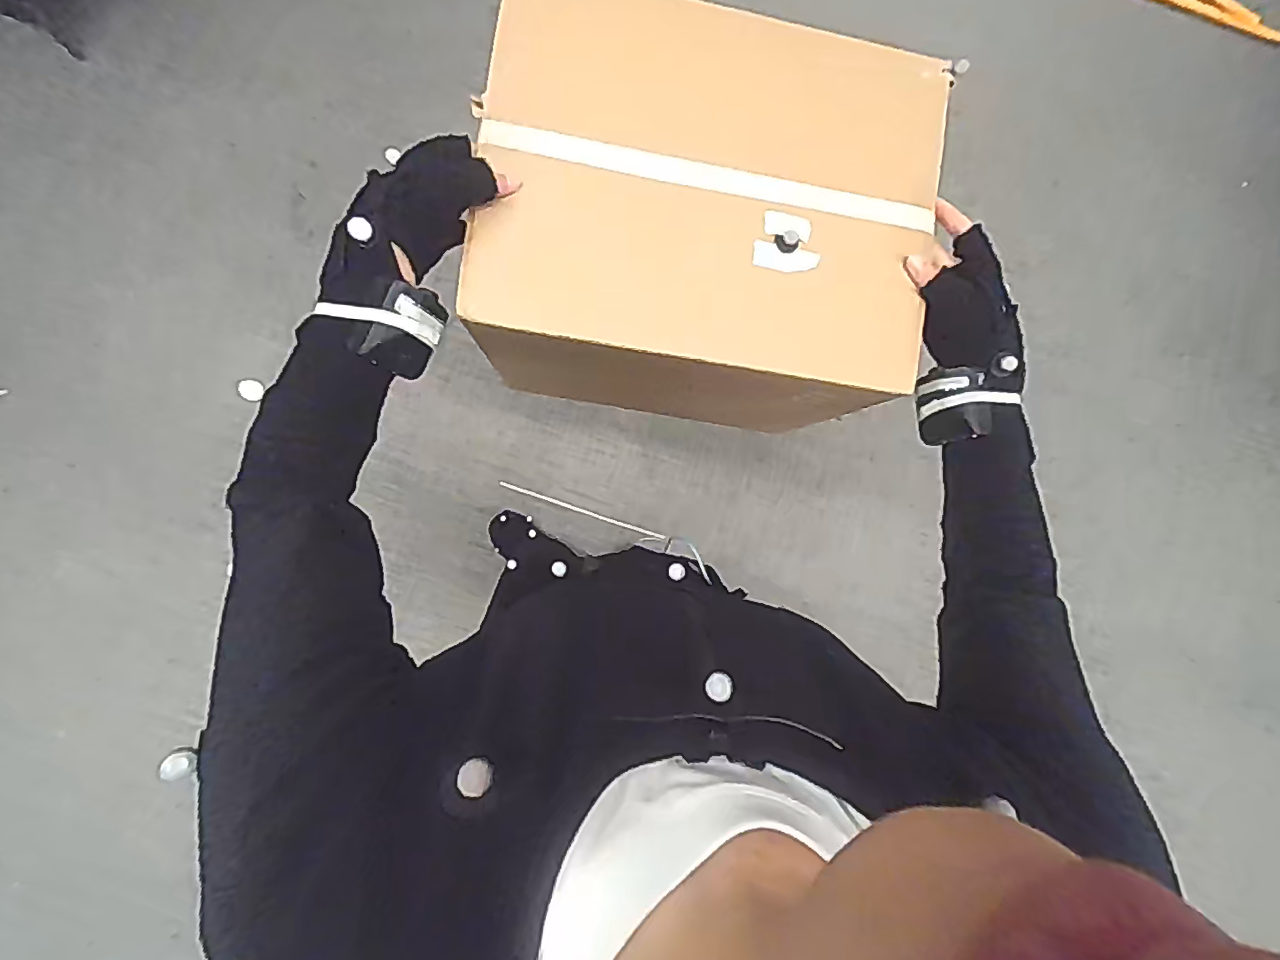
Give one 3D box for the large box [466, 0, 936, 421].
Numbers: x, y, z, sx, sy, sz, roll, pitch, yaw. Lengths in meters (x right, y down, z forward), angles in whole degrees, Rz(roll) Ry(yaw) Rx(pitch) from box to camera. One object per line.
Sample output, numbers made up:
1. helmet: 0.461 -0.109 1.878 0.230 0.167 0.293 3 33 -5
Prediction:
1. large box: 0.046 -0.263 0.622 0.408 0.320 0.320 8 88 -7
